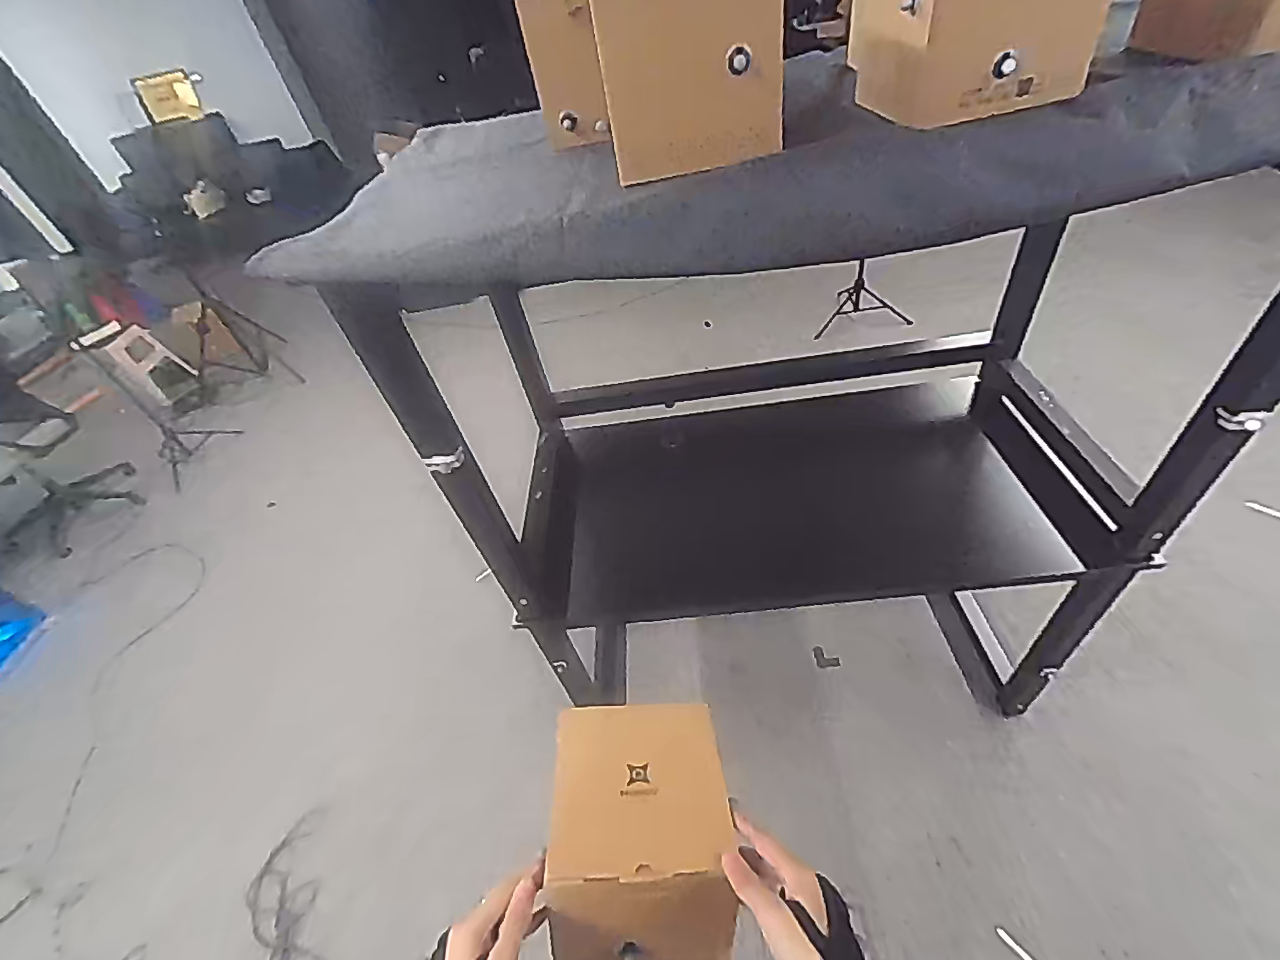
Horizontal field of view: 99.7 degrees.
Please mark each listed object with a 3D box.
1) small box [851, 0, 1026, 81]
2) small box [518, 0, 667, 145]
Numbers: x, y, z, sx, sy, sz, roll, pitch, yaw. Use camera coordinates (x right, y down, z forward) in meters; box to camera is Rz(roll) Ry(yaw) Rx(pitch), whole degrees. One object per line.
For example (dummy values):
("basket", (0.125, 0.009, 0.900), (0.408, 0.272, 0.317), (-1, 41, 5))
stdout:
("small box", (0.386, -0.646, 0.709), (0.168, 0.176, 0.179), (-7, 44, 7))
("small box", (-0.055, -0.586, 0.753), (0.168, 0.176, 0.179), (-7, 44, 6))
